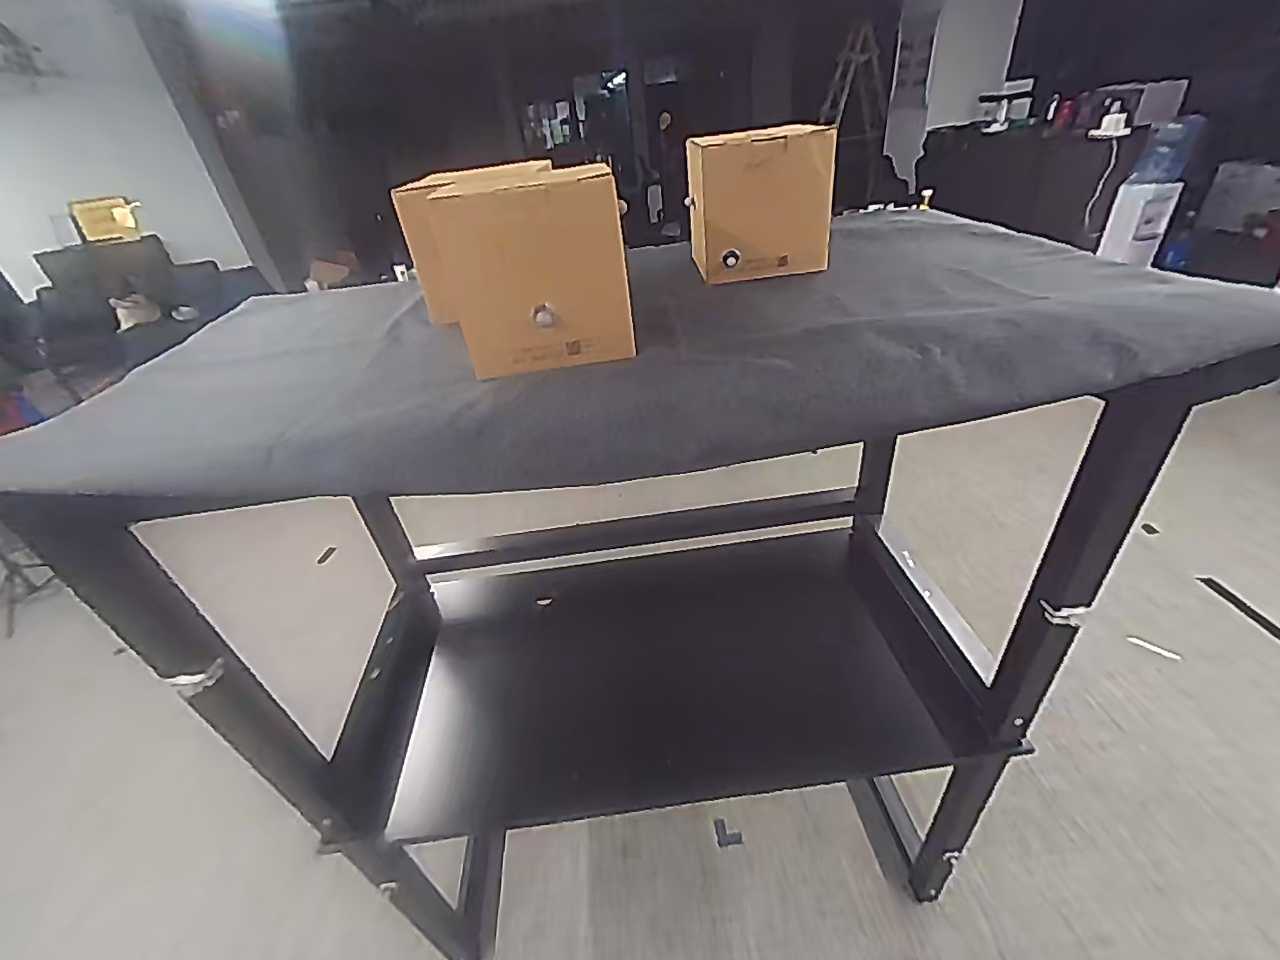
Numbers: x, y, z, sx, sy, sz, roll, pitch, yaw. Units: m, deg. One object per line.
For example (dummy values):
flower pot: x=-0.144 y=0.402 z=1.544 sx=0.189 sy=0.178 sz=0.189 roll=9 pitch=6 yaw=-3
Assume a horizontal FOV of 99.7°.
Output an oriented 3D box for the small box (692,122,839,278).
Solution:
small box: x=0.167 y=-0.391 z=0.762 sx=0.168 sy=0.176 sz=0.179 roll=-6 pitch=34 yaw=2

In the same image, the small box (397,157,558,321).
small box: x=-0.195 y=-0.332 z=0.746 sx=0.179 sy=0.176 sz=0.168 roll=-5 pitch=35 yaw=4

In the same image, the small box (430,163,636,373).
small box: x=-0.099 y=-0.228 z=0.574 sx=0.168 sy=0.176 sz=0.179 roll=-8 pitch=34 yaw=-1
